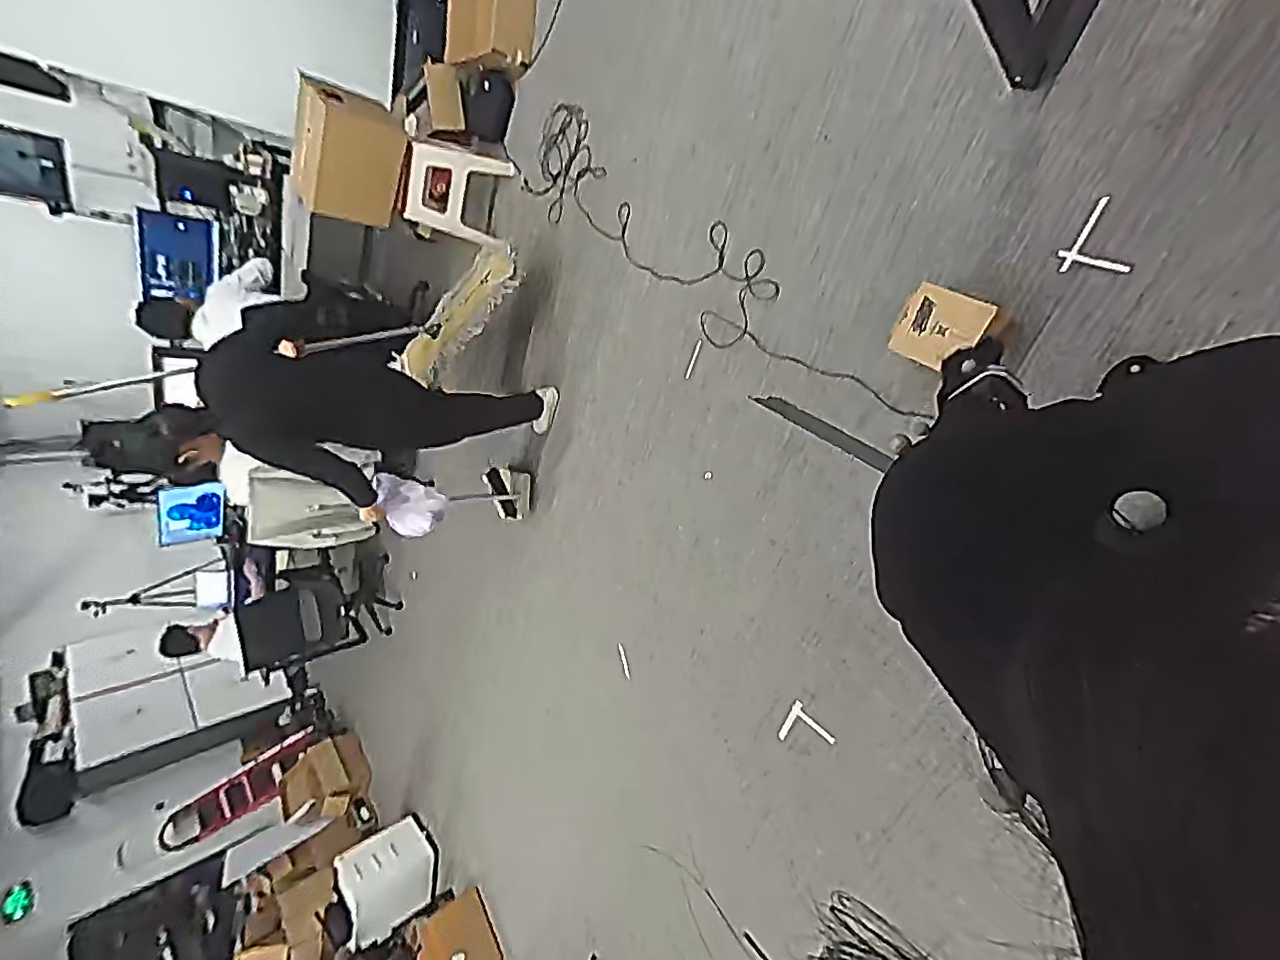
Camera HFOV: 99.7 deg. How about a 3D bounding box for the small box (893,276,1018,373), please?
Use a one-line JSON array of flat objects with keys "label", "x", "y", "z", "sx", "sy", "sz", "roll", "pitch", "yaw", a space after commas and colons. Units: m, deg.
[{"label": "small box", "x": 0.740, "y": -0.357, "z": 1.268, "sx": 0.179, "sy": 0.176, "sz": 0.168, "roll": 40, "pitch": 122, "yaw": 33}]
